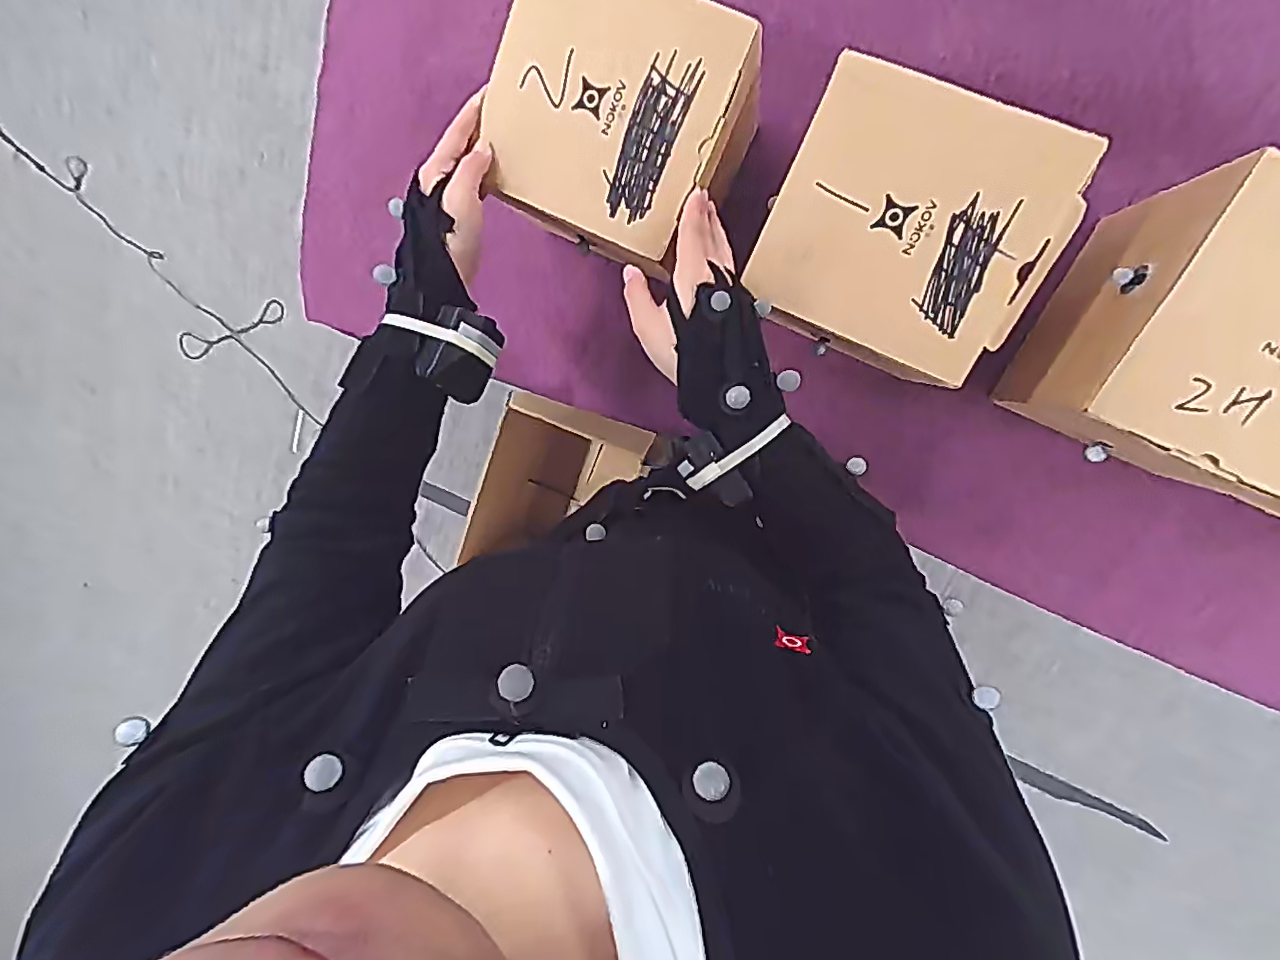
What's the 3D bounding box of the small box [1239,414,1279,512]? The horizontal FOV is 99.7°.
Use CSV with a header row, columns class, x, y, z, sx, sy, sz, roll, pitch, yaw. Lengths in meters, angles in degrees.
class,x,y,z,sx,sy,sz,roll,pitch,yaw
small box,0.612,-0.019,0.378,0.168,0.176,0.179,27,106,7
